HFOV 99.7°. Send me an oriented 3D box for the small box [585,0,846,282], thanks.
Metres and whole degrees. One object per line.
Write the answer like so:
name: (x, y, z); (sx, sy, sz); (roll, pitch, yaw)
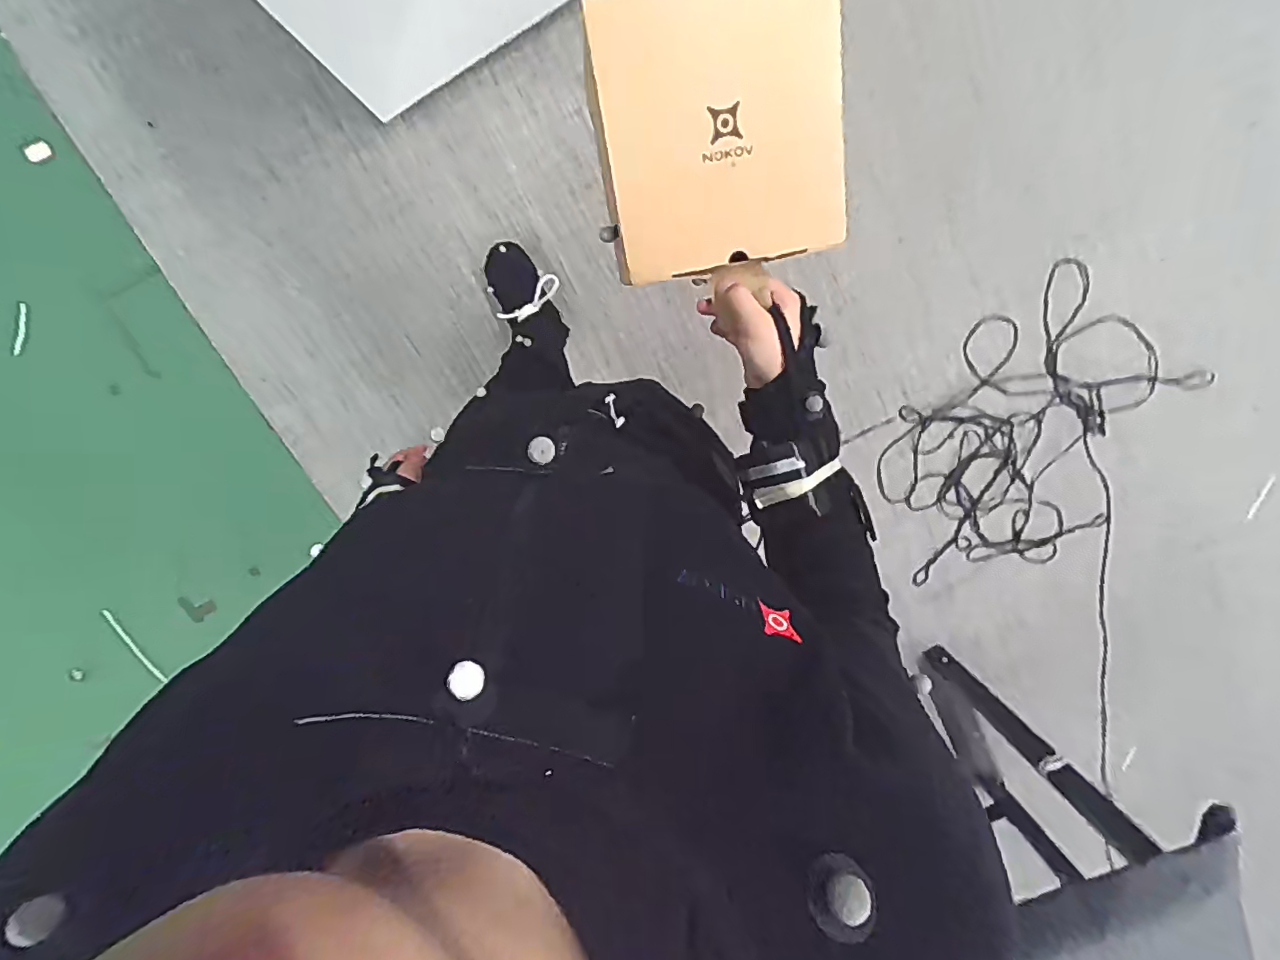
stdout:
small box: (0.050, -0.267, 0.442); (0.168, 0.176, 0.179); (-12, 112, 0)
